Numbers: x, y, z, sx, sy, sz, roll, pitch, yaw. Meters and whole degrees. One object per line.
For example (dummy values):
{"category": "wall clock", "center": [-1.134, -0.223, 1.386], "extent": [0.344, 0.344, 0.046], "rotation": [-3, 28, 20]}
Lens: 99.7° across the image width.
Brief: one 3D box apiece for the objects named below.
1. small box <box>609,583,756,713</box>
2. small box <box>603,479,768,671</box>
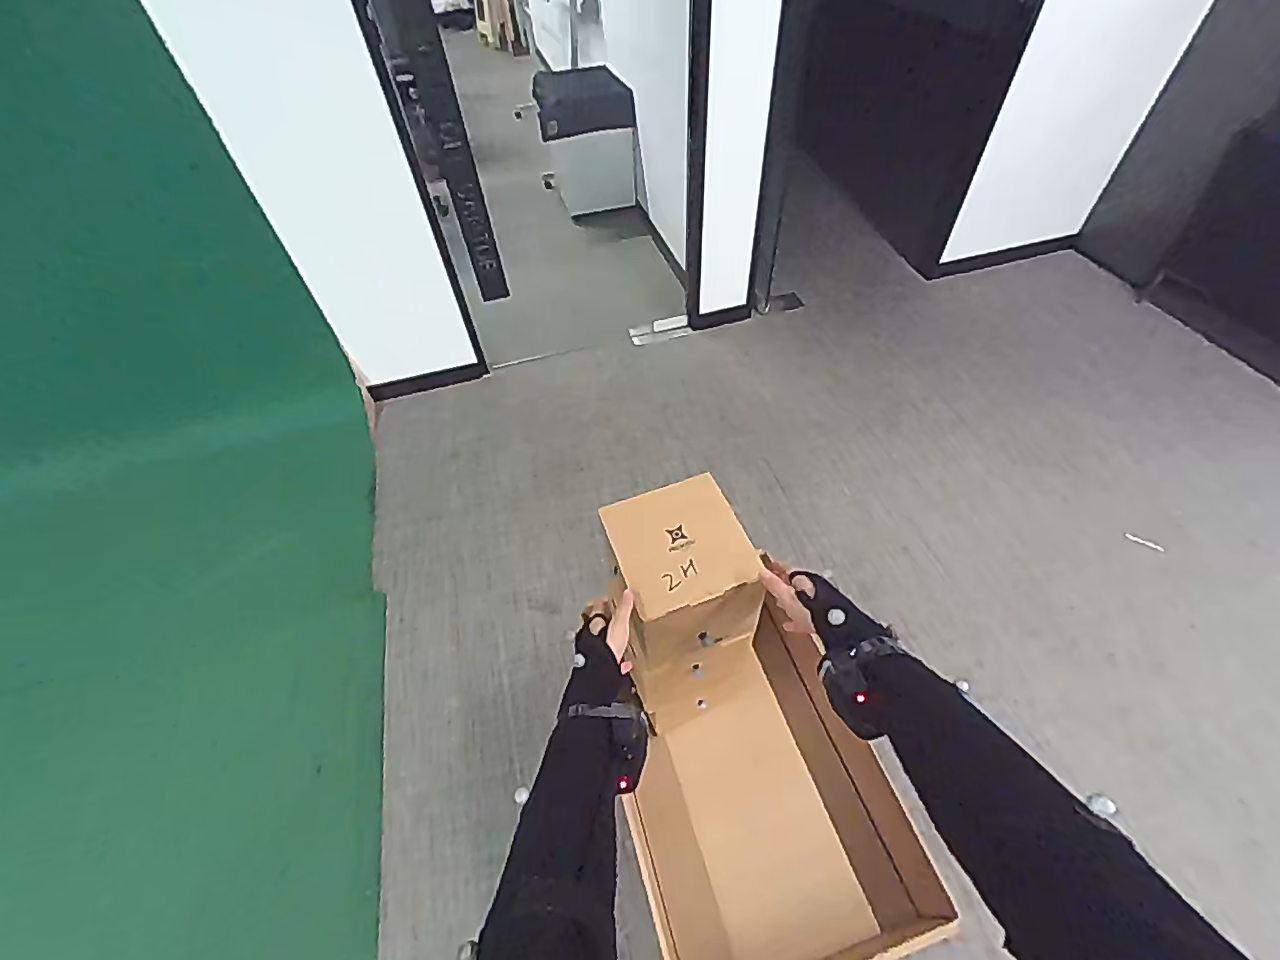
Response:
{"category": "small box", "center": [0.063, 0.246, 0.870], "extent": [0.179, 0.176, 0.168], "rotation": [-20, 52, -10]}
{"category": "small box", "center": [0.056, 0.133, 0.750], "extent": [0.168, 0.176, 0.179], "rotation": [-18, 52, -9]}
